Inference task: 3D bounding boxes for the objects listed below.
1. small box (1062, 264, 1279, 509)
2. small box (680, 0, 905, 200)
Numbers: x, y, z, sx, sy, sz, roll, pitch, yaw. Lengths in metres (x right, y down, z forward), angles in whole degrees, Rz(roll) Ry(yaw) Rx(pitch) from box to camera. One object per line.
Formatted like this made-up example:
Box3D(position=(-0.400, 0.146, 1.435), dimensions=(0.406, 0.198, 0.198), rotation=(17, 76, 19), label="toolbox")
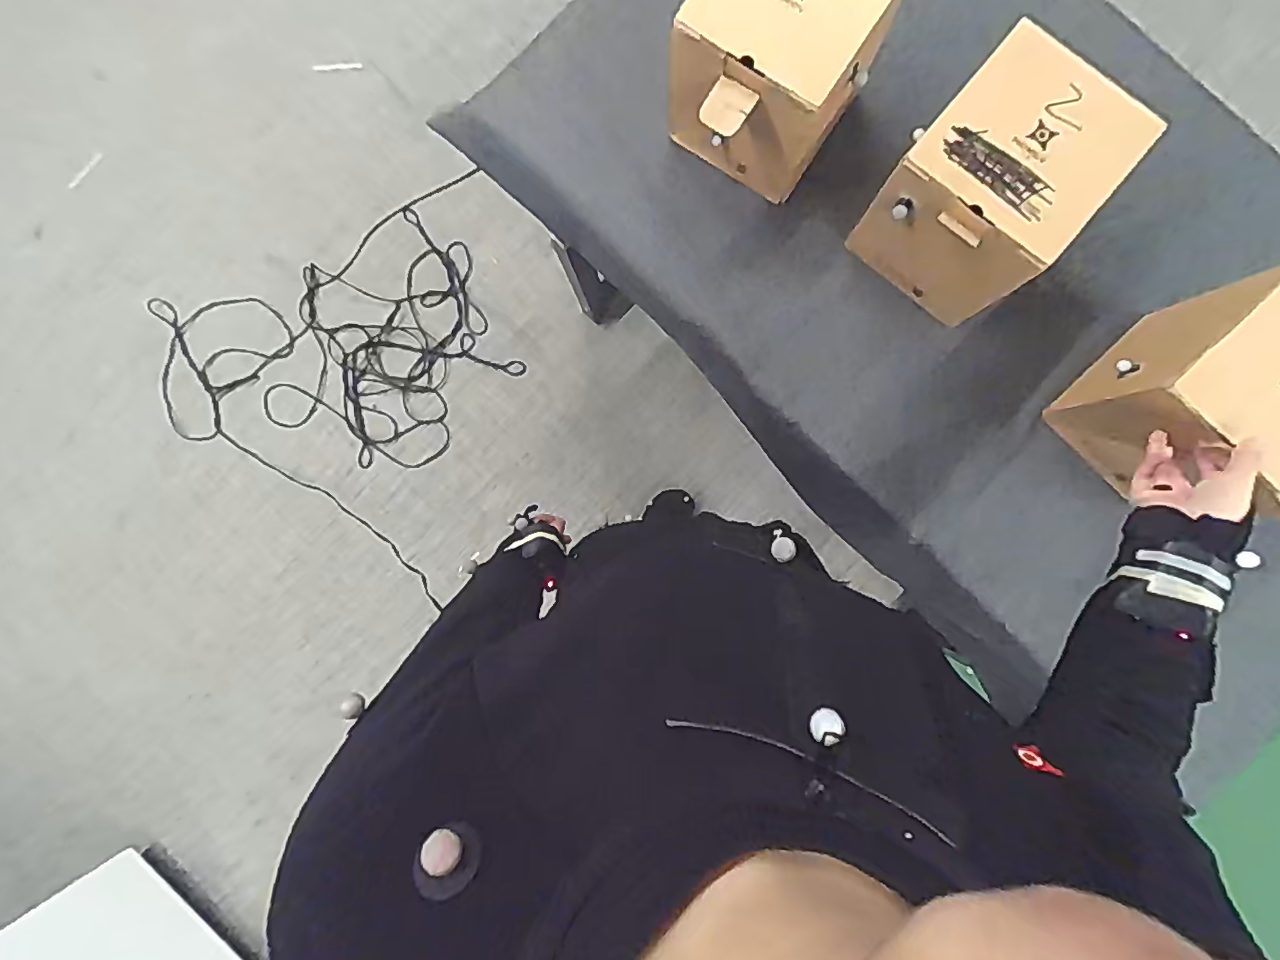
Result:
Box3D(position=(0.590, -0.081, 0.553), dimensions=(0.179, 0.176, 0.168), rotation=(-44, 88, -1), label="small box")
Box3D(position=(0.152, -0.455, 0.587), dimensions=(0.168, 0.176, 0.179), rotation=(34, 90, 3), label="small box")
